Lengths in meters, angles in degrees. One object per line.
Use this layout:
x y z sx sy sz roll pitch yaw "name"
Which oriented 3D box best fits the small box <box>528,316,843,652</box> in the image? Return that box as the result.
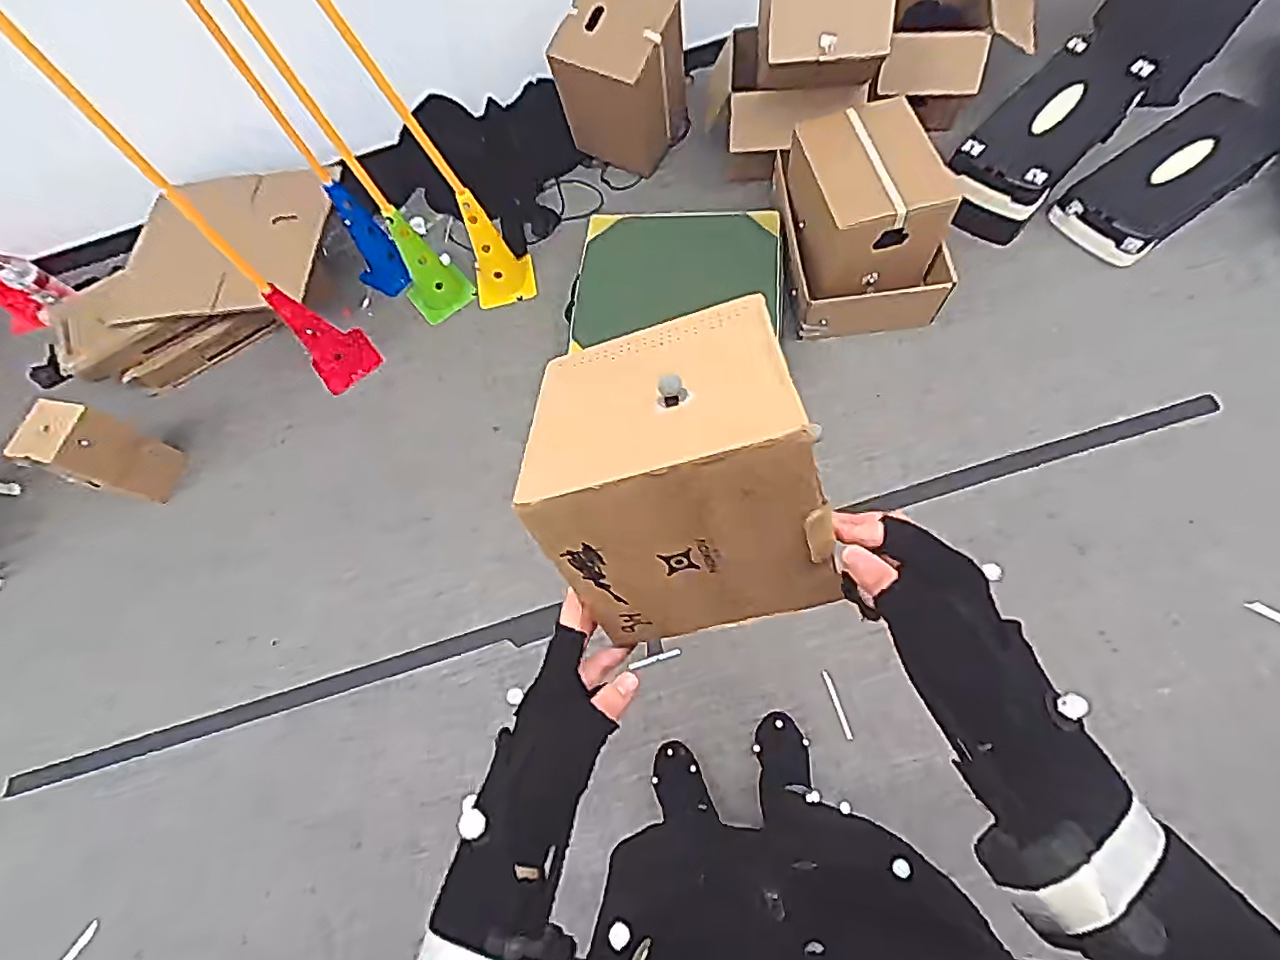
0.036 0.001 0.410 0.179 0.168 0.176 -15 40 12 "small box"
